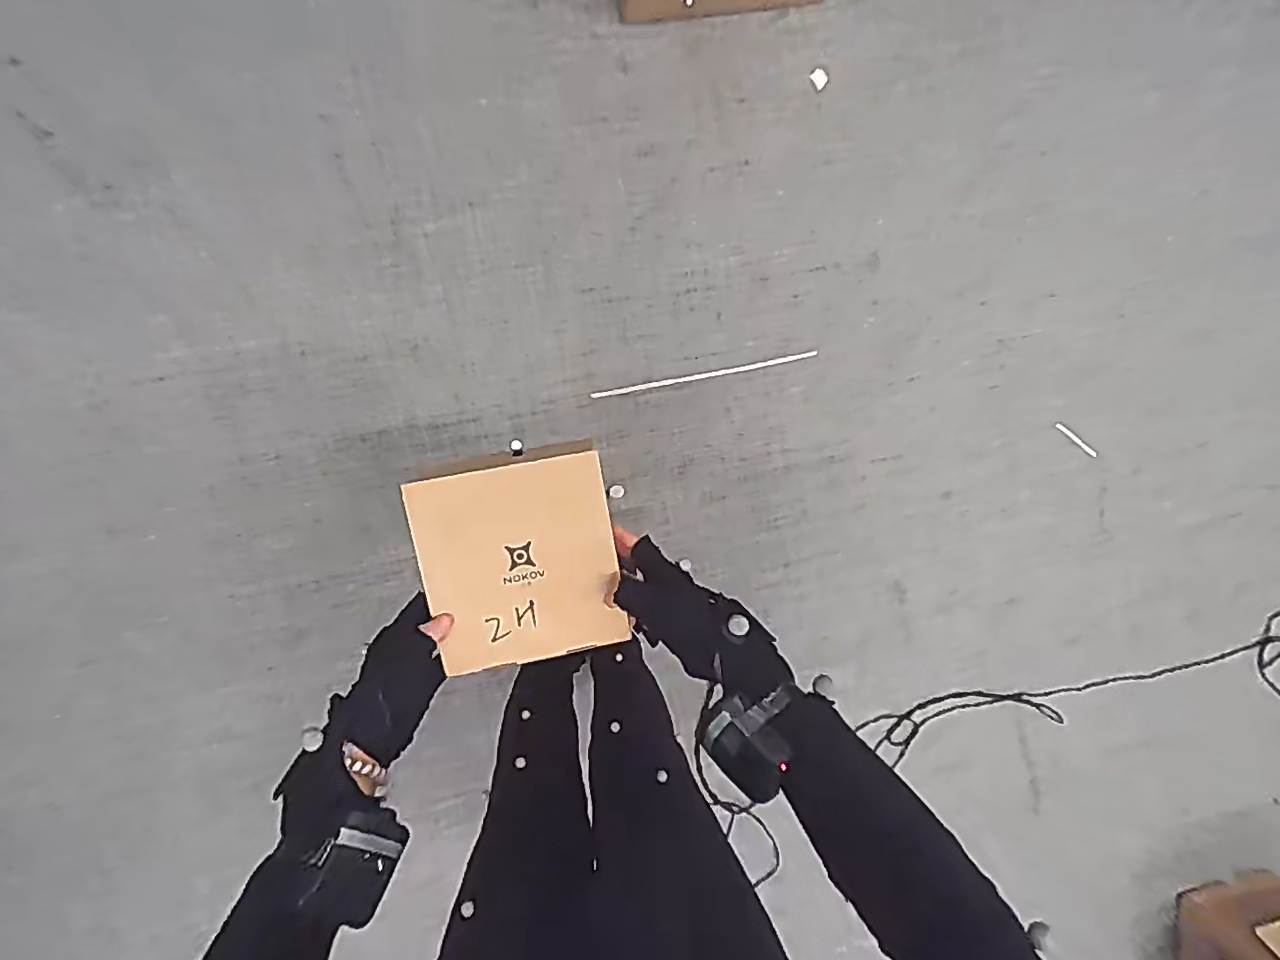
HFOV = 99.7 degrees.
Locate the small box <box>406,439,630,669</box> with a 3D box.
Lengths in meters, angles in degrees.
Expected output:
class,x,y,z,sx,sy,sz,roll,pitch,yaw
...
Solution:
class,x,y,z,sx,sy,sz,roll,pitch,yaw
small box,-0.110,0.056,0.540,0.168,0.176,0.179,-10,99,-4
